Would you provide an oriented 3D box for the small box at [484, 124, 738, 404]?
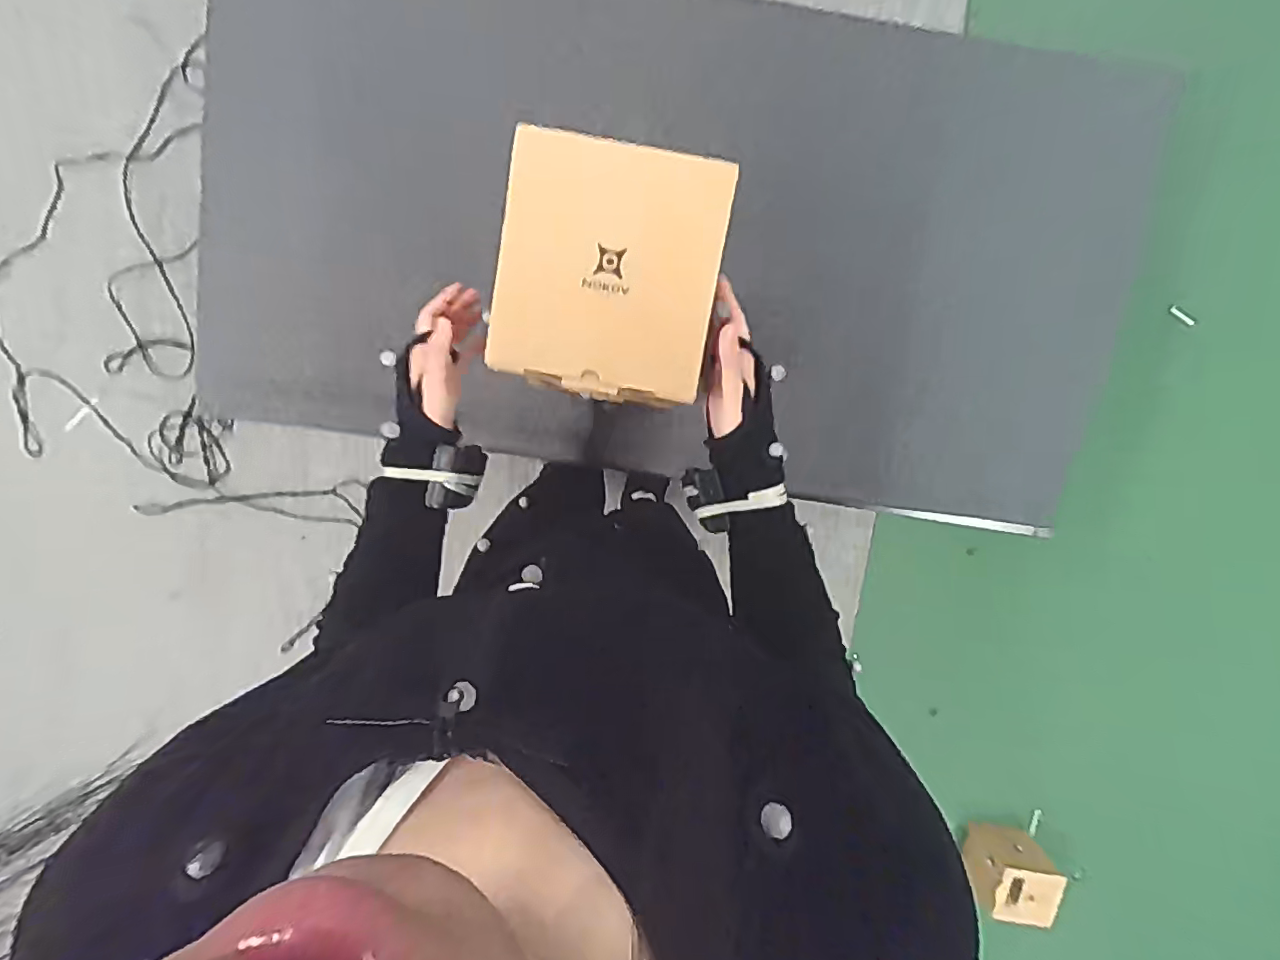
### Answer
[{"bbox_3d":[-0.023,-0.167,0.477,0.168,0.176,0.179,10,98,-1],"label":"small box"}]
